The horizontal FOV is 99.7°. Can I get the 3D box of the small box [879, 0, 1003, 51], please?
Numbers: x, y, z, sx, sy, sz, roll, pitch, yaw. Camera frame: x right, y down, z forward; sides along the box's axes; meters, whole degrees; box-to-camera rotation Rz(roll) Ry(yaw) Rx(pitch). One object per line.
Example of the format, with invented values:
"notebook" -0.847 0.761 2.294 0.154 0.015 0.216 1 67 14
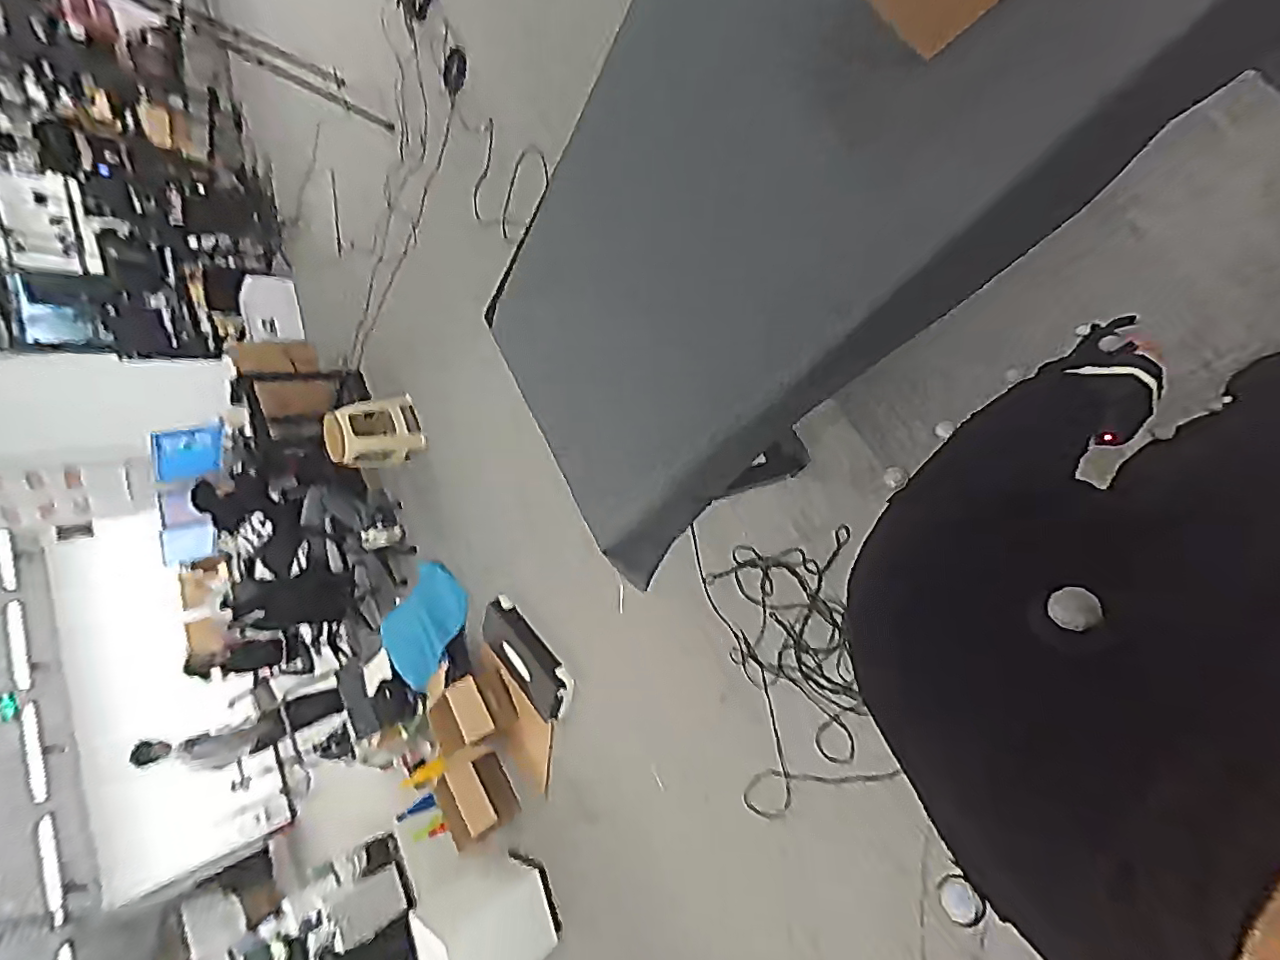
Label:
"small box" 0.273 -0.520 0.446 0.179 0.176 0.168 -26 79 47
